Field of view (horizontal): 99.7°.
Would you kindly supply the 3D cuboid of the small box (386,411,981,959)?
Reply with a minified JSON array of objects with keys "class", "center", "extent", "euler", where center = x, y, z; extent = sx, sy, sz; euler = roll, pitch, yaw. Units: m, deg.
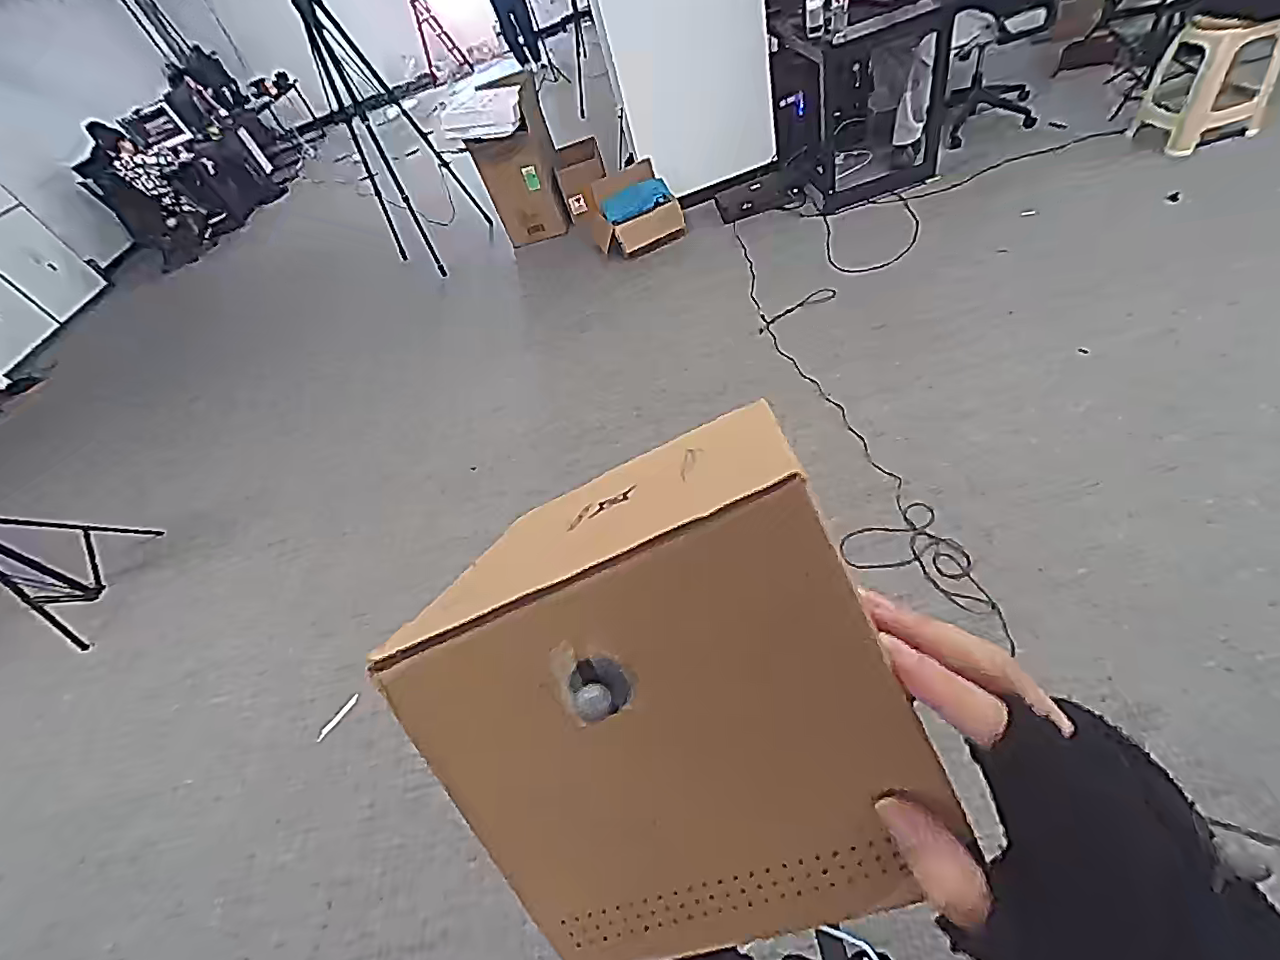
[{"class":"small box","center":[0.025,0.088,0.274],"extent":[0.179,0.176,0.168],"euler":[-26,11,14]}]
